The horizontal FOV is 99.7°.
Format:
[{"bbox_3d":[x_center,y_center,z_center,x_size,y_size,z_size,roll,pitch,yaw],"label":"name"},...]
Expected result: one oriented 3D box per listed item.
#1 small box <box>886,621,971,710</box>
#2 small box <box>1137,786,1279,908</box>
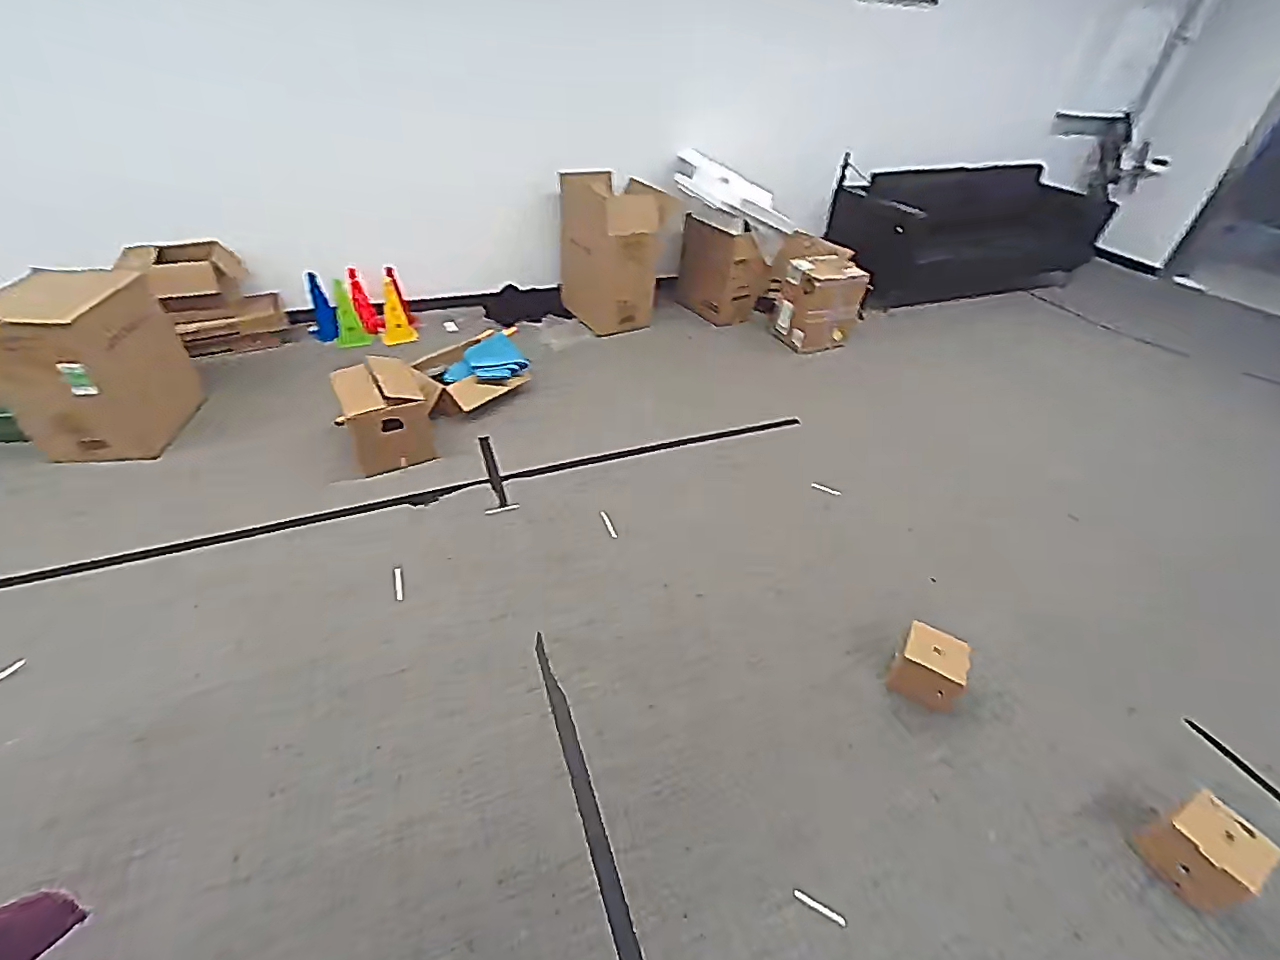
[{"bbox_3d":[0.898,0.582,1.685,0.179,0.176,0.168,22,41,22],"label":"small box"},{"bbox_3d":[1.390,0.905,1.331,0.179,0.176,0.168,-18,45,-24],"label":"small box"}]
